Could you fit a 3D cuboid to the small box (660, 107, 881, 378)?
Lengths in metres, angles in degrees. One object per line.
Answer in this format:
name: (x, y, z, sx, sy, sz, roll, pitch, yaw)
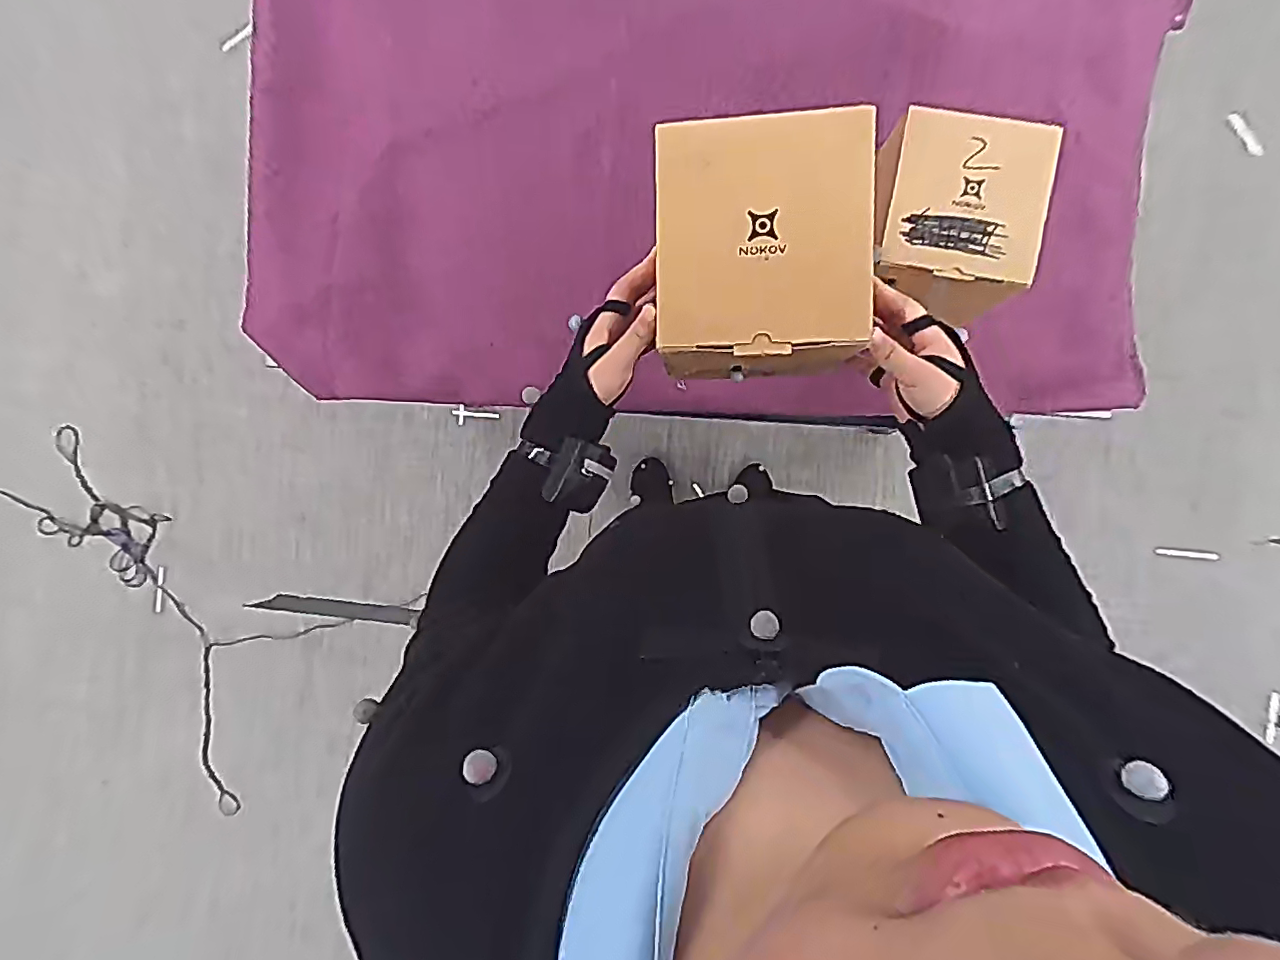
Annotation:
small box: (0.105, -0.193, 0.490, 0.168, 0.176, 0.179, 0, 93, 7)
